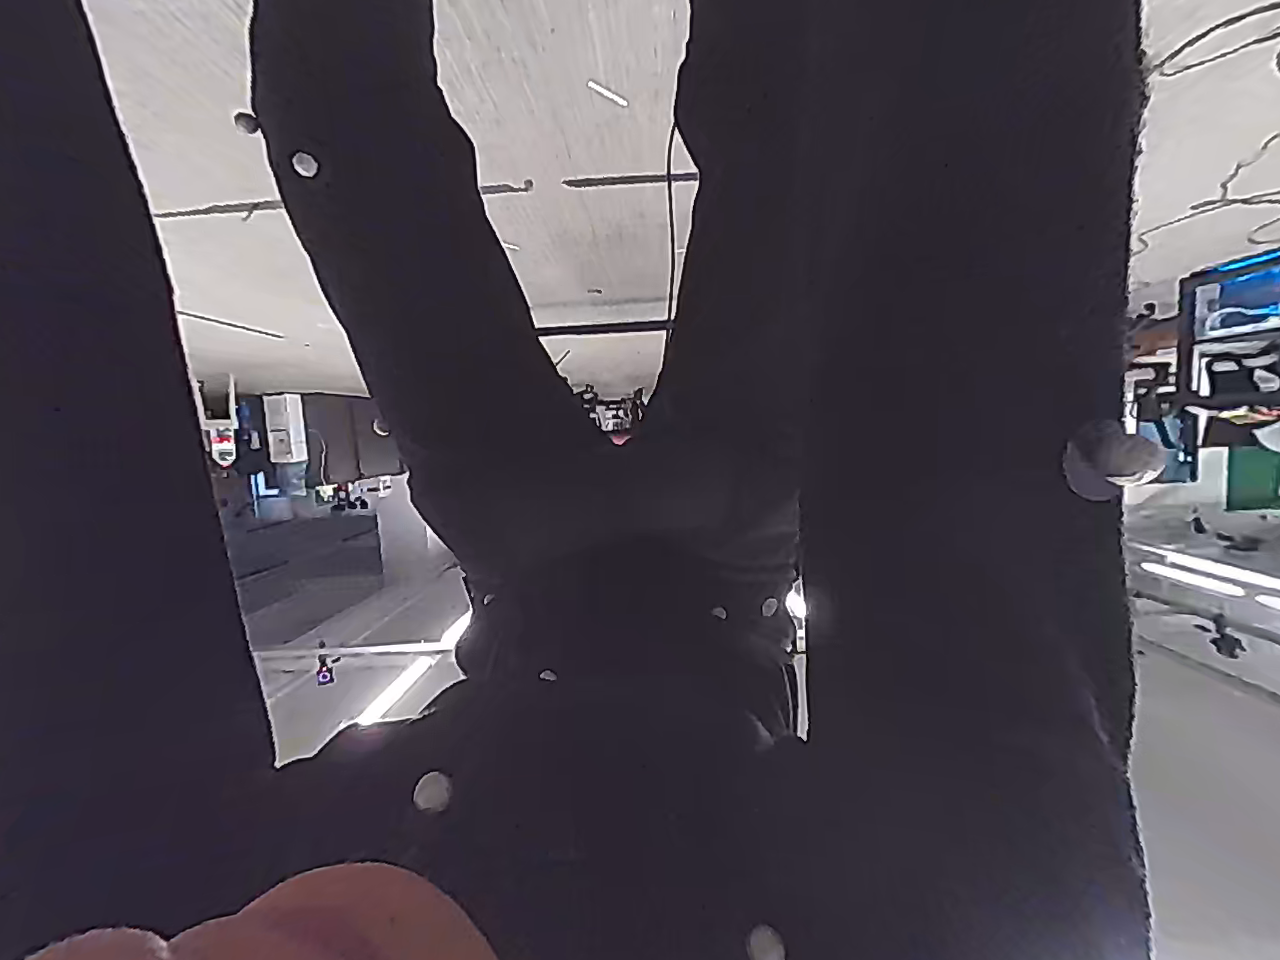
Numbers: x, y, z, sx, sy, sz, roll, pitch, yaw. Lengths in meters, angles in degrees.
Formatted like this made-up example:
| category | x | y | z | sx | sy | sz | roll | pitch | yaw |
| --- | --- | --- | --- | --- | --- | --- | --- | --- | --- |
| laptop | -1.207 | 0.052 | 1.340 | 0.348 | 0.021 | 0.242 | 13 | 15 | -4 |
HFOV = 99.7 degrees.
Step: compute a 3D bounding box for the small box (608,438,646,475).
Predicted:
| category | x | y | z | sx | sy | sz | roll | pitch | yaw |
| --- | --- | --- | --- | --- | --- | --- | --- | --- | --- |
| small box | -0.063 | -0.119 | 2.645 | 0.179 | 0.176 | 0.168 | -2 | -172 | 4 |
